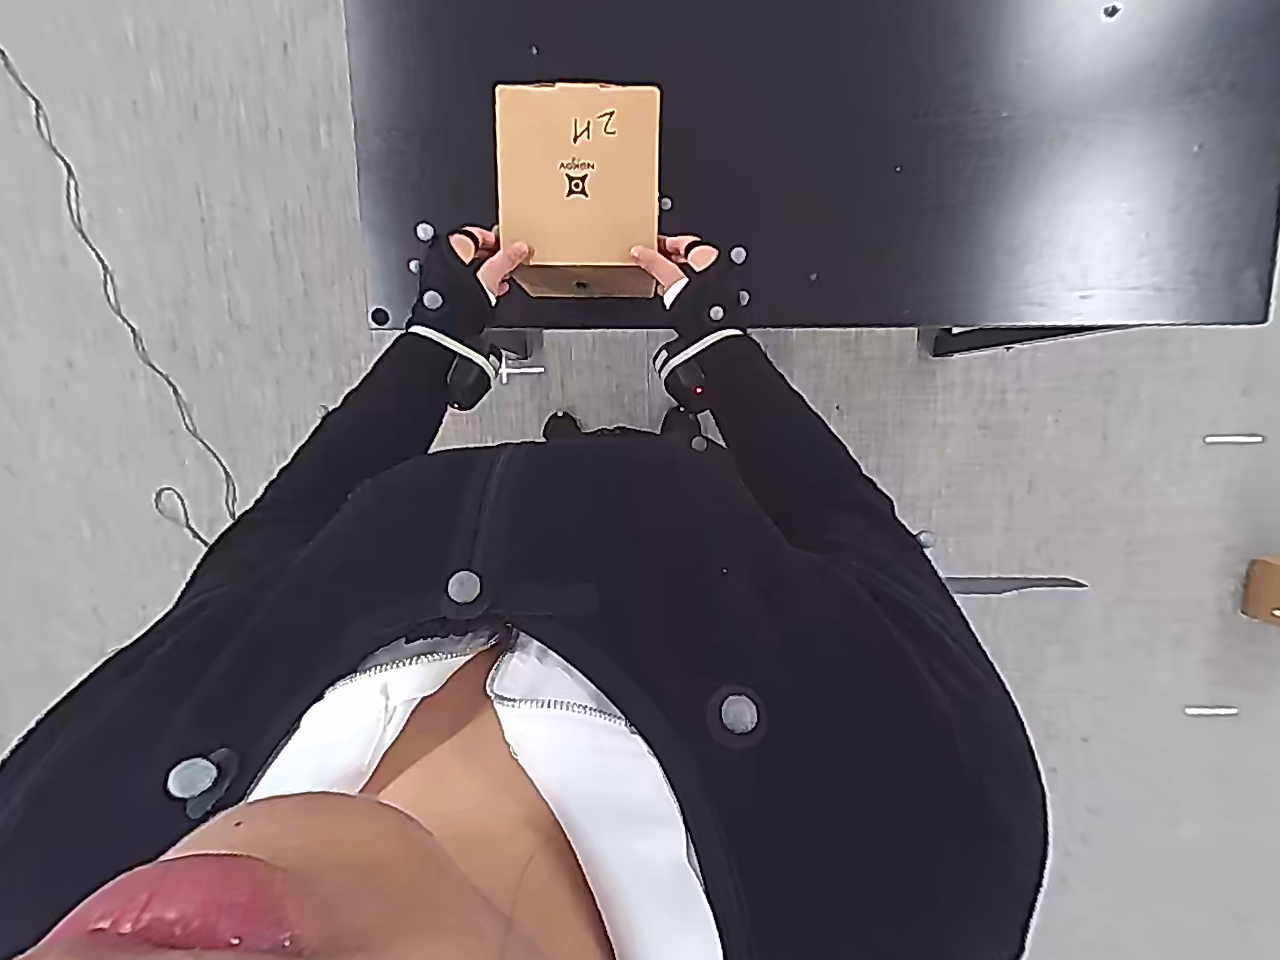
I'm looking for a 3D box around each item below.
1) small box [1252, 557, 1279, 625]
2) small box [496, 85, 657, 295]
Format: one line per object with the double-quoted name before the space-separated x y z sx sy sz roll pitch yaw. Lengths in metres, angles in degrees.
"small box" 1.802 0.311 1.436 0.168 0.176 0.179 -1 97 0
"small box" -0.064 -0.320 0.633 0.168 0.176 0.179 0 97 0
